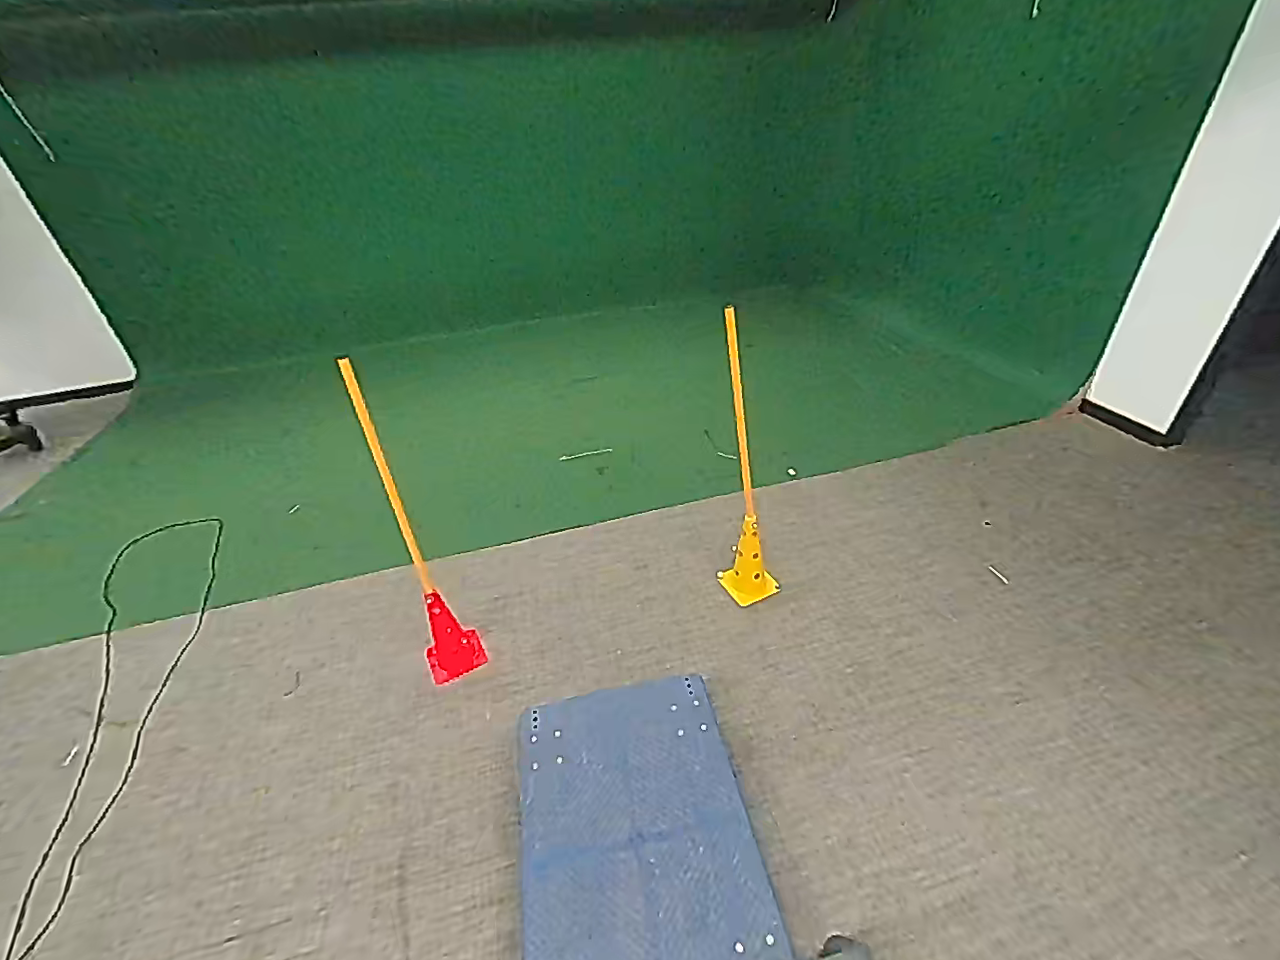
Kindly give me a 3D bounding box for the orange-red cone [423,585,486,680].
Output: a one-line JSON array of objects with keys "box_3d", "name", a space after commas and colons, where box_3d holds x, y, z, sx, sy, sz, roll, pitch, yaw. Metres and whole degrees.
[{"box_3d": [-0.711, 0.516, 1.951, 0.199, 0.360, 0.198, -22, 38, -20], "name": "orange-red cone"}]
